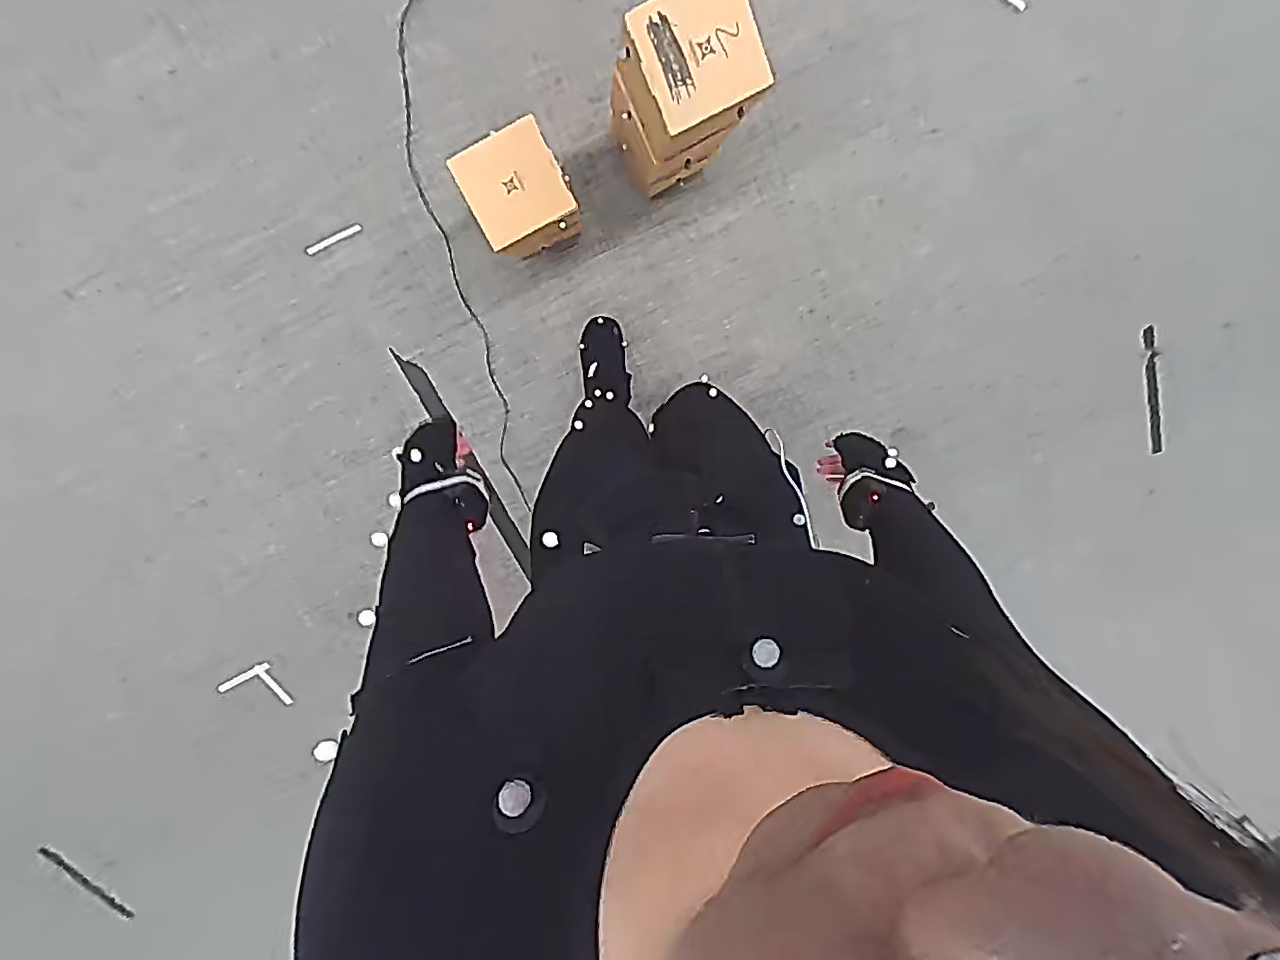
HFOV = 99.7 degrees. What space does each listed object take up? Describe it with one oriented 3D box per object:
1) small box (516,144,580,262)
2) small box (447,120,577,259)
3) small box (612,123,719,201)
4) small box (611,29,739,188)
[{"bbox_3d":[-0.241,-0.599,1.191,0.168,0.176,0.179,-23,110,3],"label":"small box"},{"bbox_3d":[-0.233,-0.542,1.039,0.179,0.176,0.168,-27,109,4],"label":"small box"},{"bbox_3d":[0.048,-0.737,1.171,0.168,0.176,0.179,-27,110,4],"label":"small box"},{"bbox_3d":[0.057,-0.682,1.016,0.179,0.176,0.168,-27,109,3],"label":"small box"}]
